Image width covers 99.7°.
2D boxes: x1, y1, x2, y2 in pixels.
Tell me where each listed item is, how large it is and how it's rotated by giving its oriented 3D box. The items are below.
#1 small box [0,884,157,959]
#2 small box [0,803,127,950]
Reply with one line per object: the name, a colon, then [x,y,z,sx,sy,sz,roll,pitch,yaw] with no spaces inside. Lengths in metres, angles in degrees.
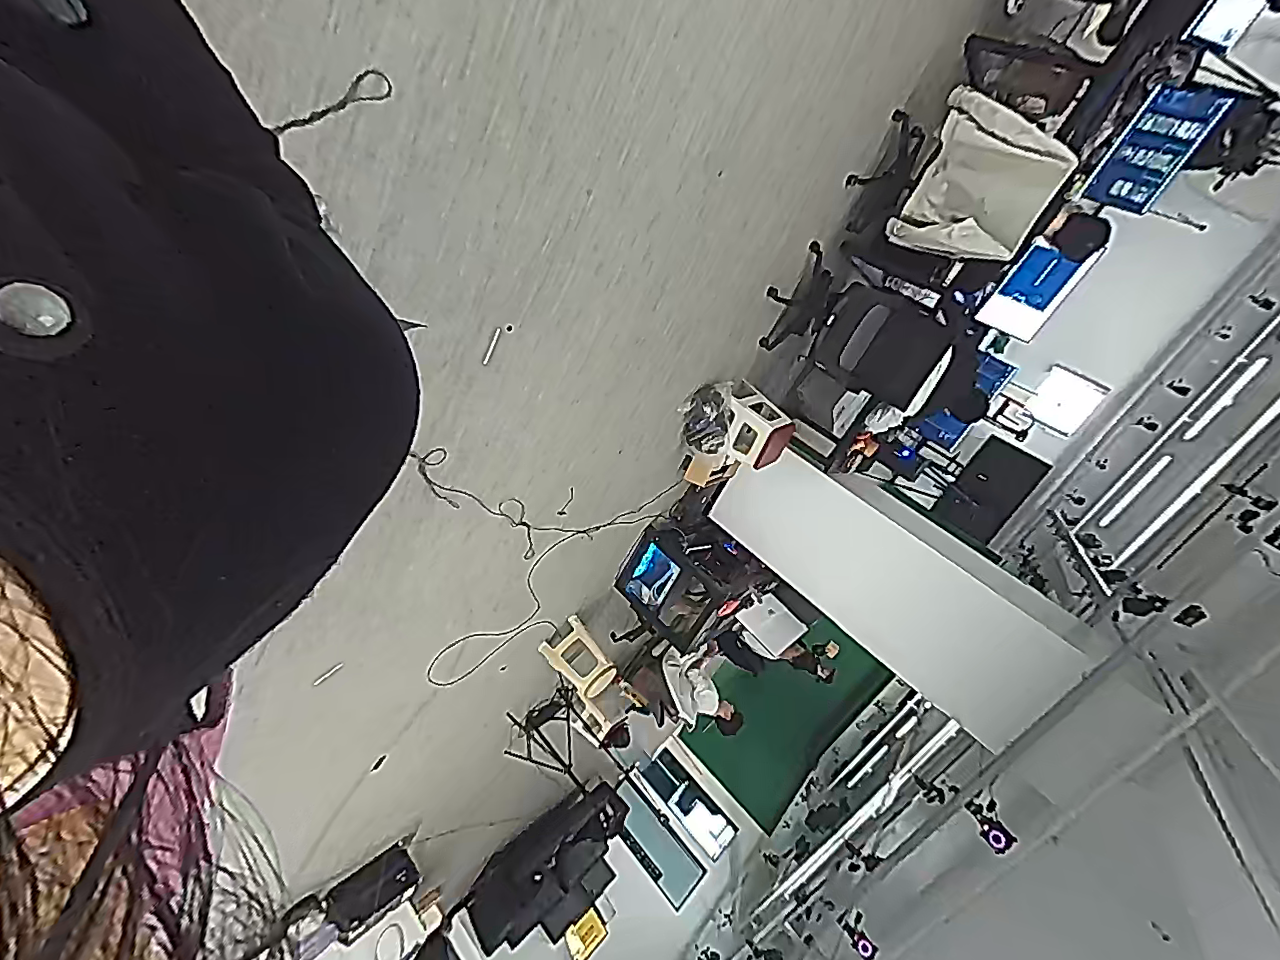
small box: [-0.862,0.775,0.813,0.179,0.176,0.168,-11,136,-54]
small box: [-0.974,0.679,0.882,0.168,0.176,0.179,-9,133,-54]
